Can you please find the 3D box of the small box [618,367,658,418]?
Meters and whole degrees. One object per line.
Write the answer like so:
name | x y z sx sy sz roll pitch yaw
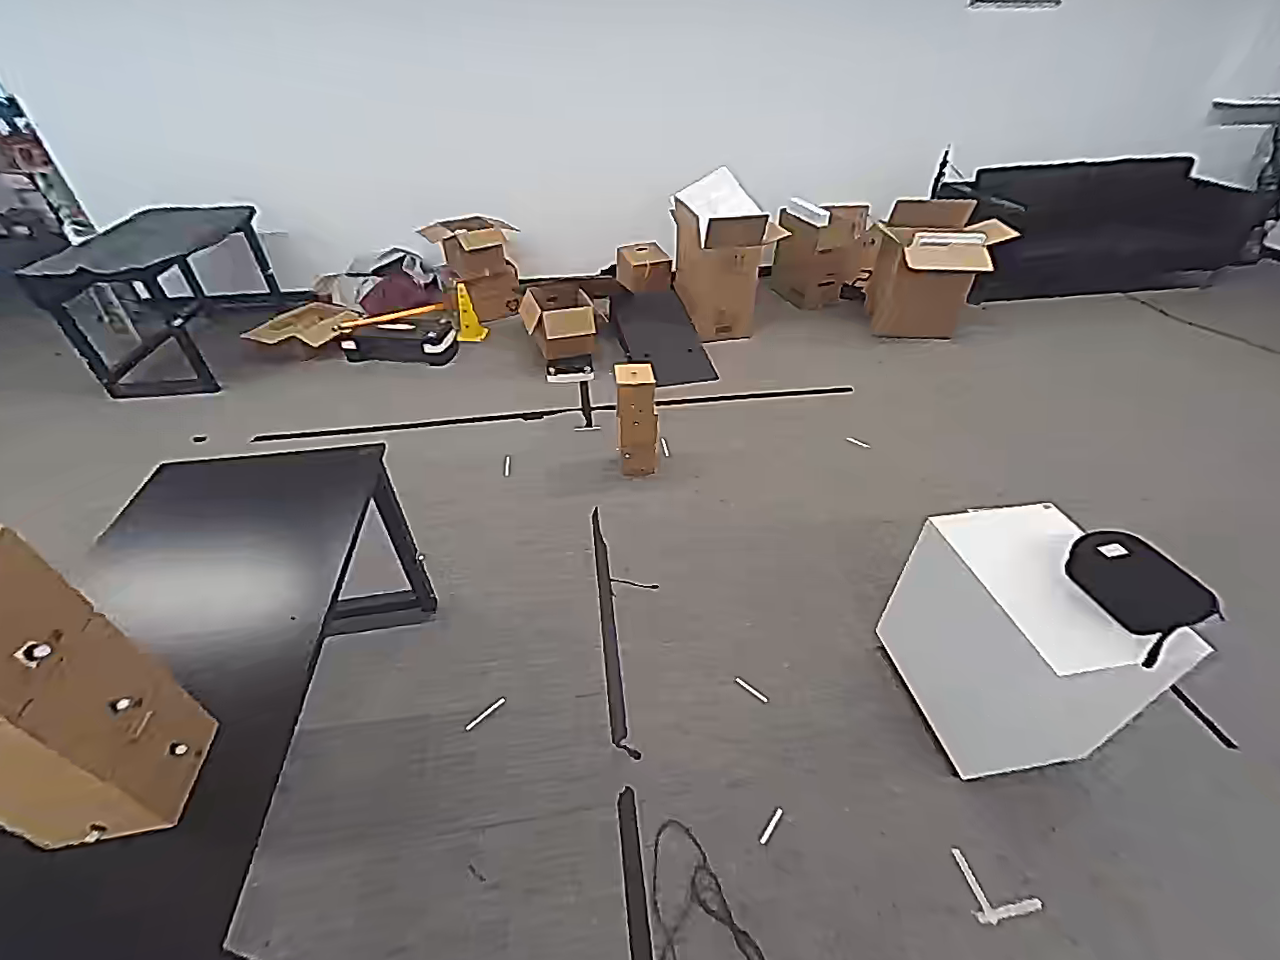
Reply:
small box | -0.013 -0.394 2.437 0.168 0.176 0.179 -3 40 -5

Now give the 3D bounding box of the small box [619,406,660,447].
small box | -0.003 -0.265 2.536 0.179 0.176 0.168 -4 40 -7

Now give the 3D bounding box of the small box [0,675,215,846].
small box | -0.802 0.424 0.822 0.179 0.176 0.168 -6 40 -8

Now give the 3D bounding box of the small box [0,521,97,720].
small box | -0.804 0.171 0.614 0.179 0.176 0.168 -6 41 -8

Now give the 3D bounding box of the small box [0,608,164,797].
small box | -0.804 0.297 0.716 0.179 0.176 0.168 -6 40 -7
